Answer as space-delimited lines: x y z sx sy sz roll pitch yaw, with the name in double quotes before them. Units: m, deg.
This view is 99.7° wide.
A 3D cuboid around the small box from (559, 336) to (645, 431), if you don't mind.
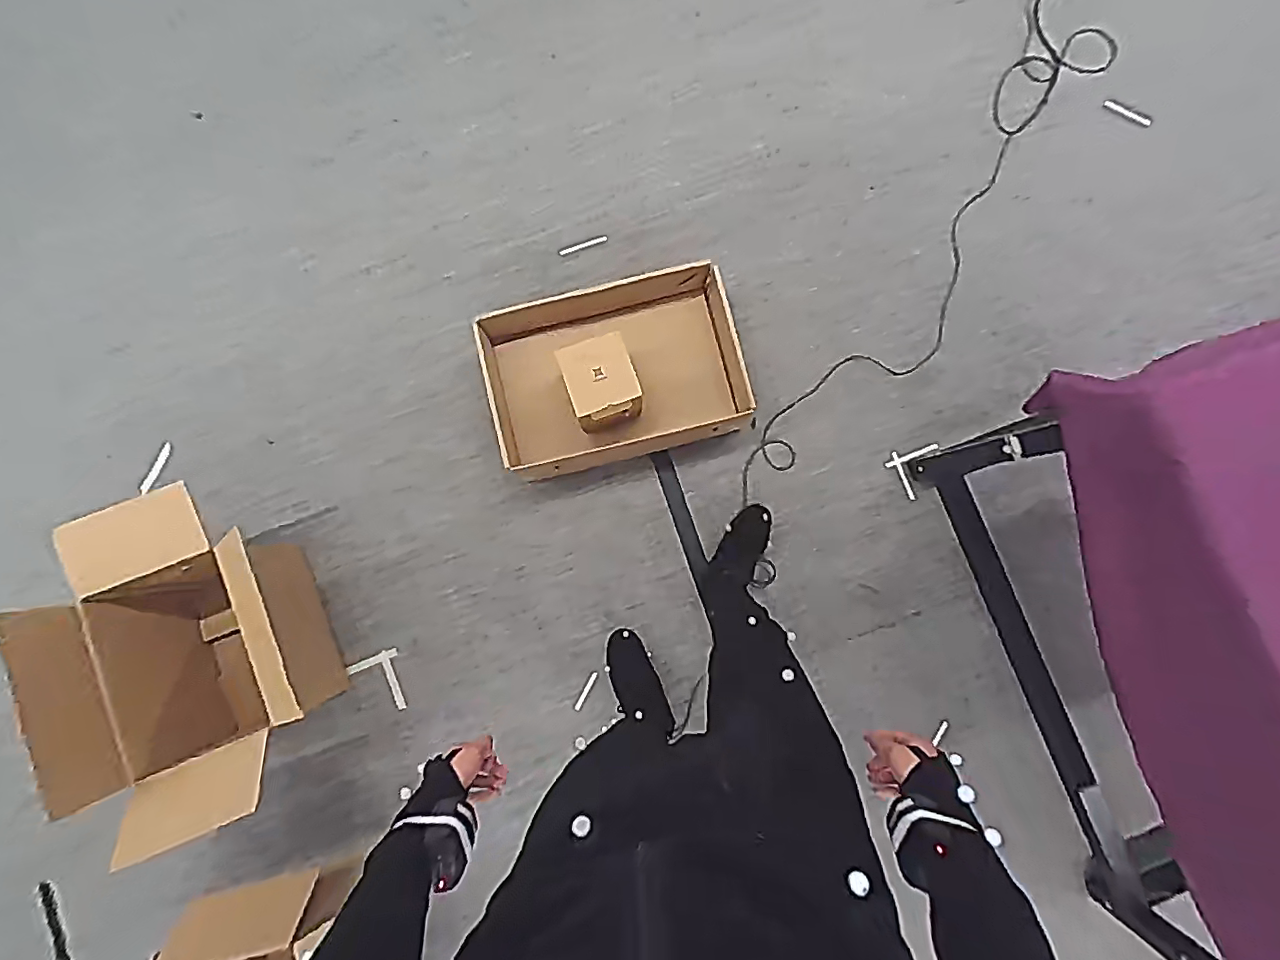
"small box" -0.089 -0.231 1.355 0.168 0.176 0.179 -19 84 -3
